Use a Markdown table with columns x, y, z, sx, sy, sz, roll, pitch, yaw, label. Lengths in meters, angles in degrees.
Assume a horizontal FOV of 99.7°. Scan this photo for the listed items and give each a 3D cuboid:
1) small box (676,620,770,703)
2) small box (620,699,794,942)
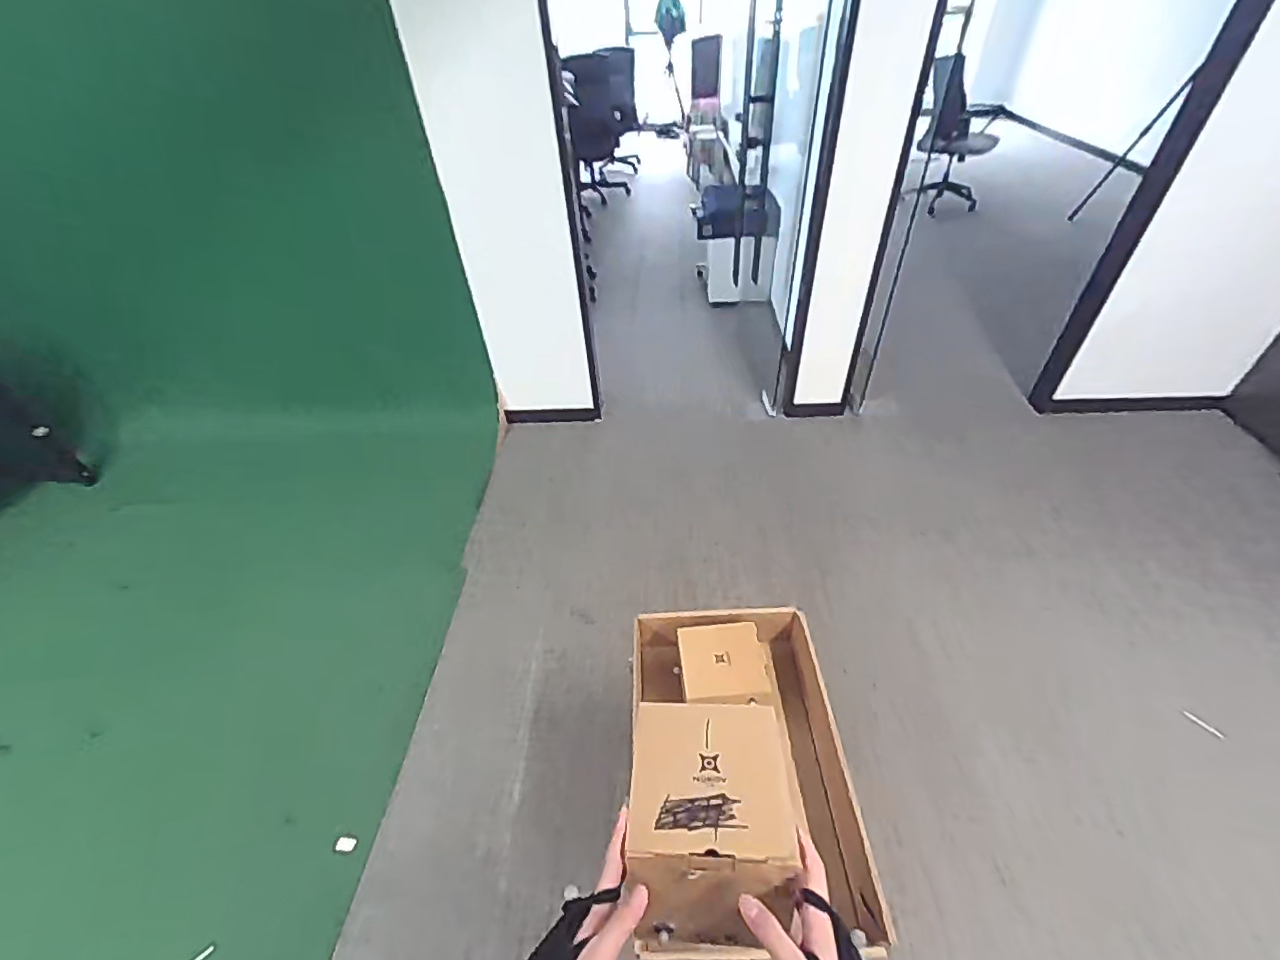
| x | y | z | sx | sy | sz | roll | pitch | yaw | label |
| --- | --- | --- | --- | --- | --- | --- | --- | --- | --- |
| 0.176 | 0.431 | 1.190 | 0.179 | 0.176 | 0.168 | -5 | 42 | -1 | small box |
| 0.074 | 0.378 | 0.610 | 0.168 | 0.176 | 0.179 | 0 | 27 | 5 | small box |
